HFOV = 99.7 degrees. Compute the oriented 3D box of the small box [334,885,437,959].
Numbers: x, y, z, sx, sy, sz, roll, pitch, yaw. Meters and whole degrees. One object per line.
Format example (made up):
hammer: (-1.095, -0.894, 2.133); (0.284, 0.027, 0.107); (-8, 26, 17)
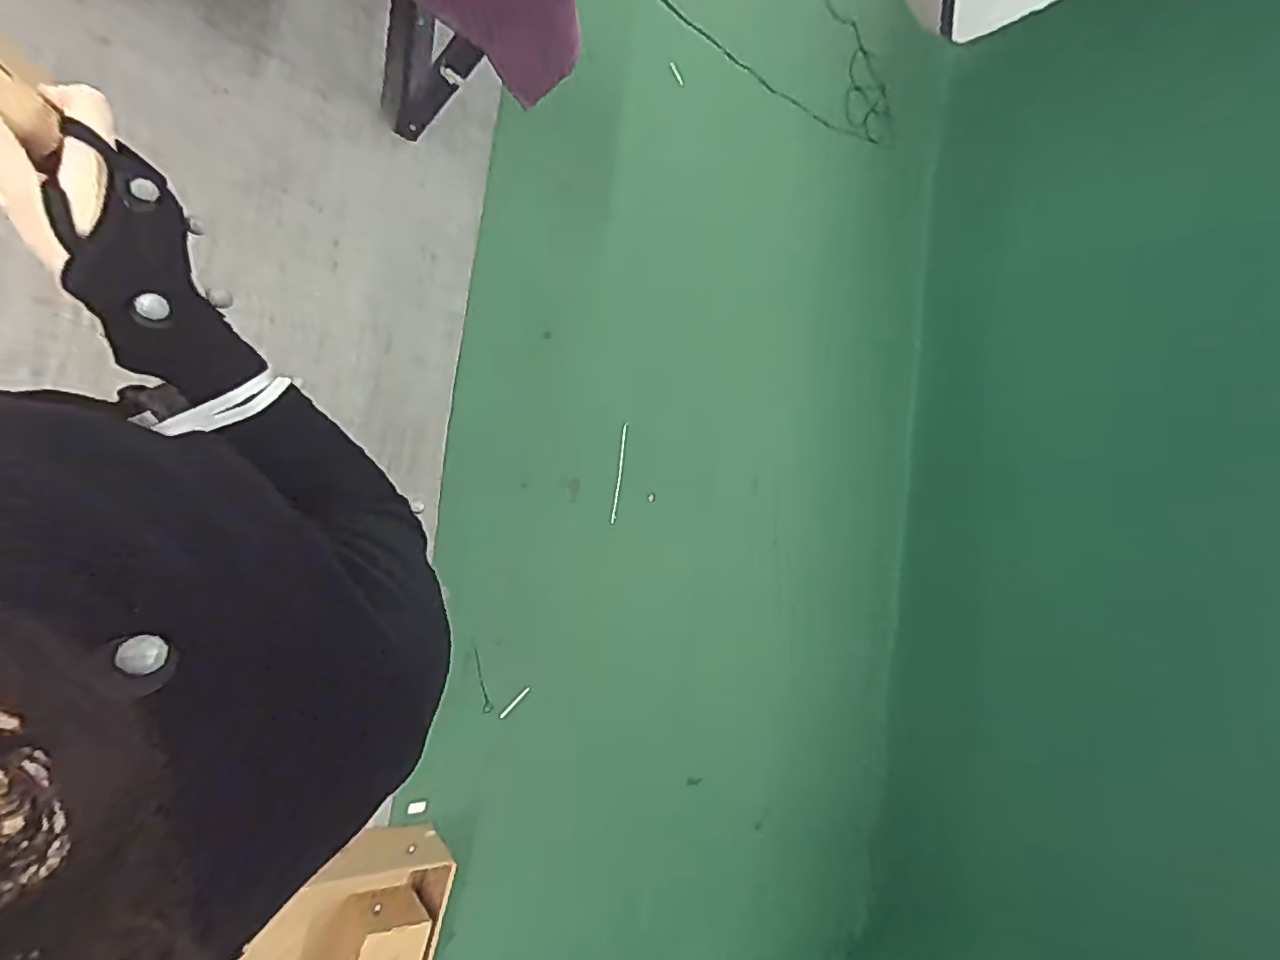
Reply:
small box: (-0.644, 1.161, 1.361); (0.168, 0.176, 0.179); (23, 77, -39)
